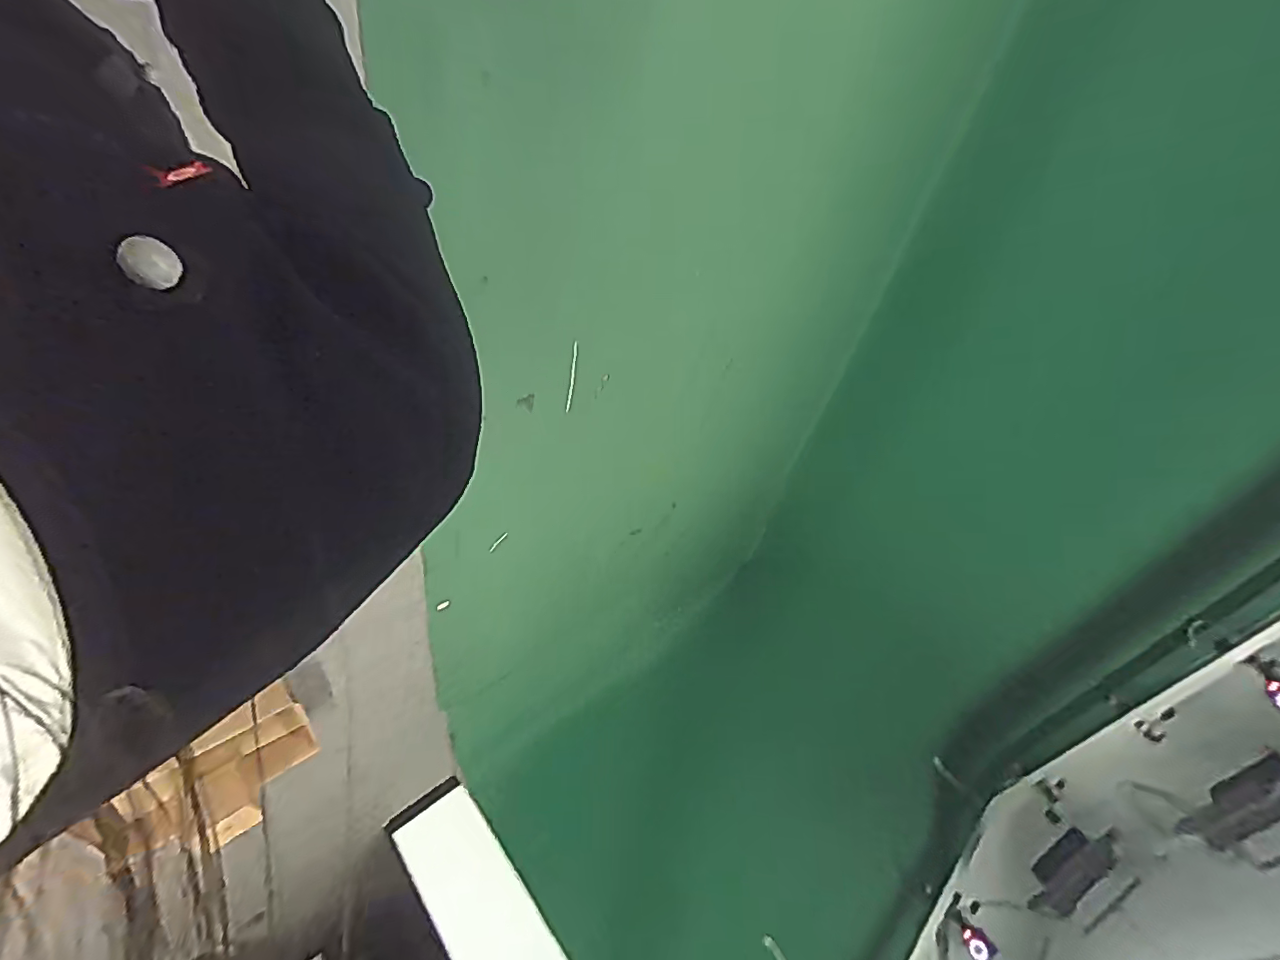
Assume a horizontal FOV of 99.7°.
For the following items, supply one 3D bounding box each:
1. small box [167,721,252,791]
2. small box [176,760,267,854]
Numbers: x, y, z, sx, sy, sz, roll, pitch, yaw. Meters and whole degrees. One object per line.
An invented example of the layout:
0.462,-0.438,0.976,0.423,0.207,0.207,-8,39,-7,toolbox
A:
-1.465,0.956,1.840,0.168,0.176,0.179,-26,145,-35,small box
-1.350,1.050,1.741,0.179,0.176,0.168,-30,147,-29,small box
